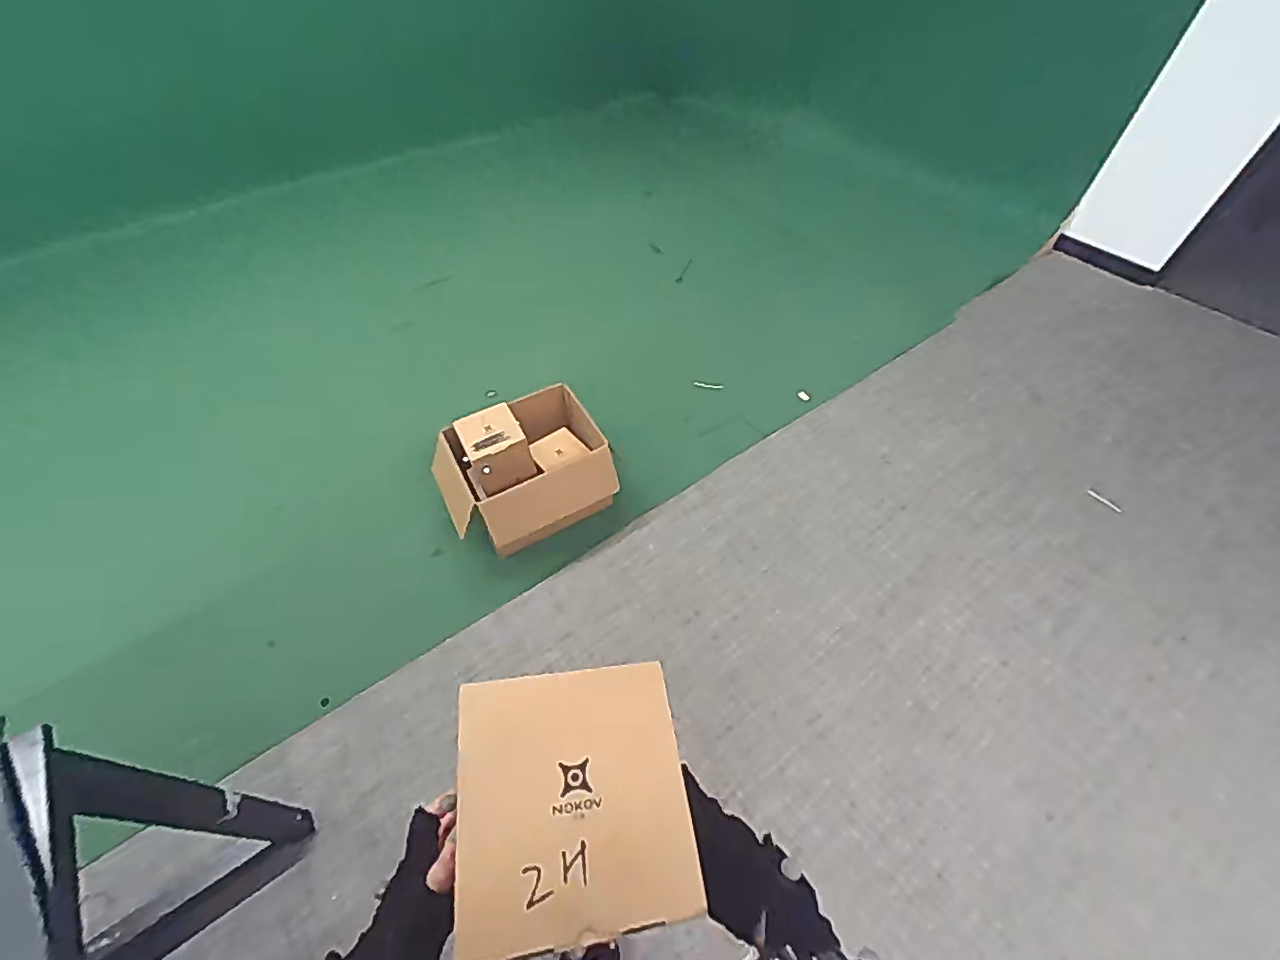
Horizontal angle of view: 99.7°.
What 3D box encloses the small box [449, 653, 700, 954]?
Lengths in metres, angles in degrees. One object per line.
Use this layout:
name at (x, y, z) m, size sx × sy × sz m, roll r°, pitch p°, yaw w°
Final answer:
small box at (-0.065, 0.267, 0.458) m, size 0.168 × 0.176 × 0.179 m, roll -2°, pitch 54°, yaw -13°
